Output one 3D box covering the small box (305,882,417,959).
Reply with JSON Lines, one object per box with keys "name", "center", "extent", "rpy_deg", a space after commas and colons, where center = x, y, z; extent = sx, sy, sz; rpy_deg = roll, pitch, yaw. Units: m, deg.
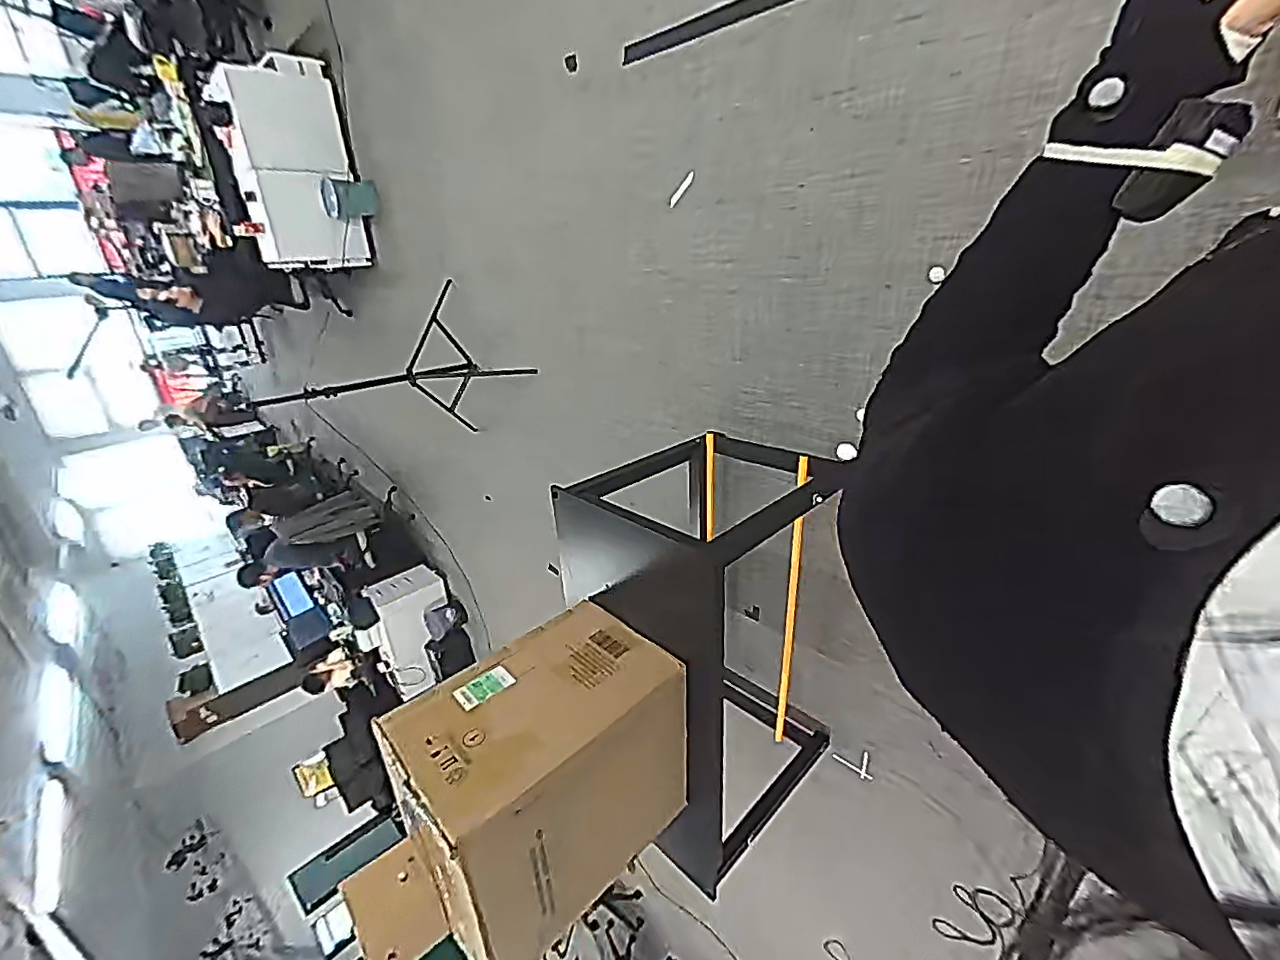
{"name": "small box", "center": [-0.598, 1.047, 1.181], "extent": [0.168, 0.176, 0.179], "rpy_deg": [22, 122, 43]}
